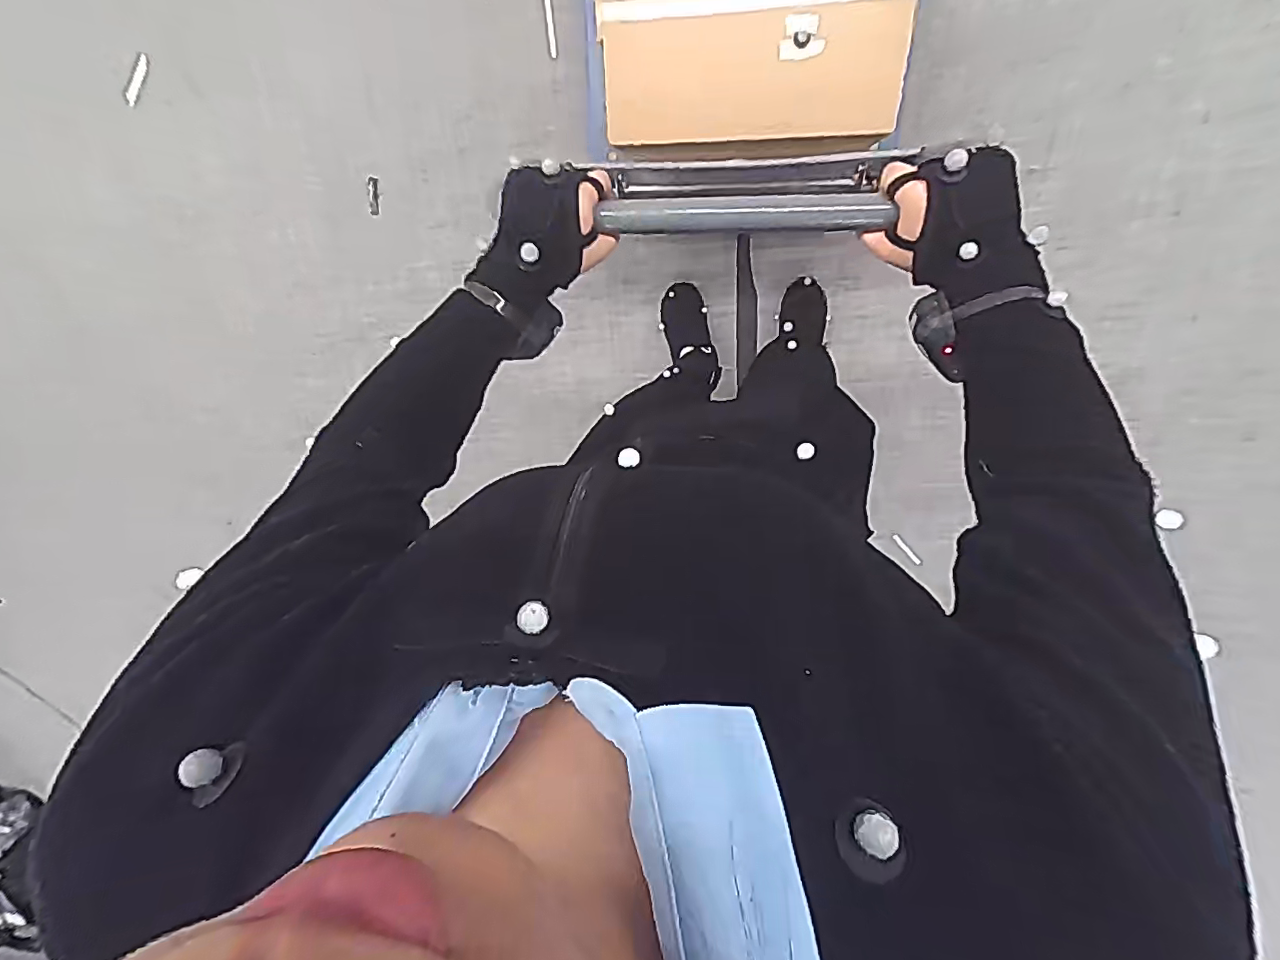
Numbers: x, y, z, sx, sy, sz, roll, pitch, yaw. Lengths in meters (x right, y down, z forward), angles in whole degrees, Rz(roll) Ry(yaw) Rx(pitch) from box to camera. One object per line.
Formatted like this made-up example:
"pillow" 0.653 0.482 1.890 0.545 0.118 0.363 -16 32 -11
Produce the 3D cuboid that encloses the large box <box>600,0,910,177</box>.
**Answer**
"large box" 0.164 -0.672 0.839 0.408 0.320 0.320 2 115 8
